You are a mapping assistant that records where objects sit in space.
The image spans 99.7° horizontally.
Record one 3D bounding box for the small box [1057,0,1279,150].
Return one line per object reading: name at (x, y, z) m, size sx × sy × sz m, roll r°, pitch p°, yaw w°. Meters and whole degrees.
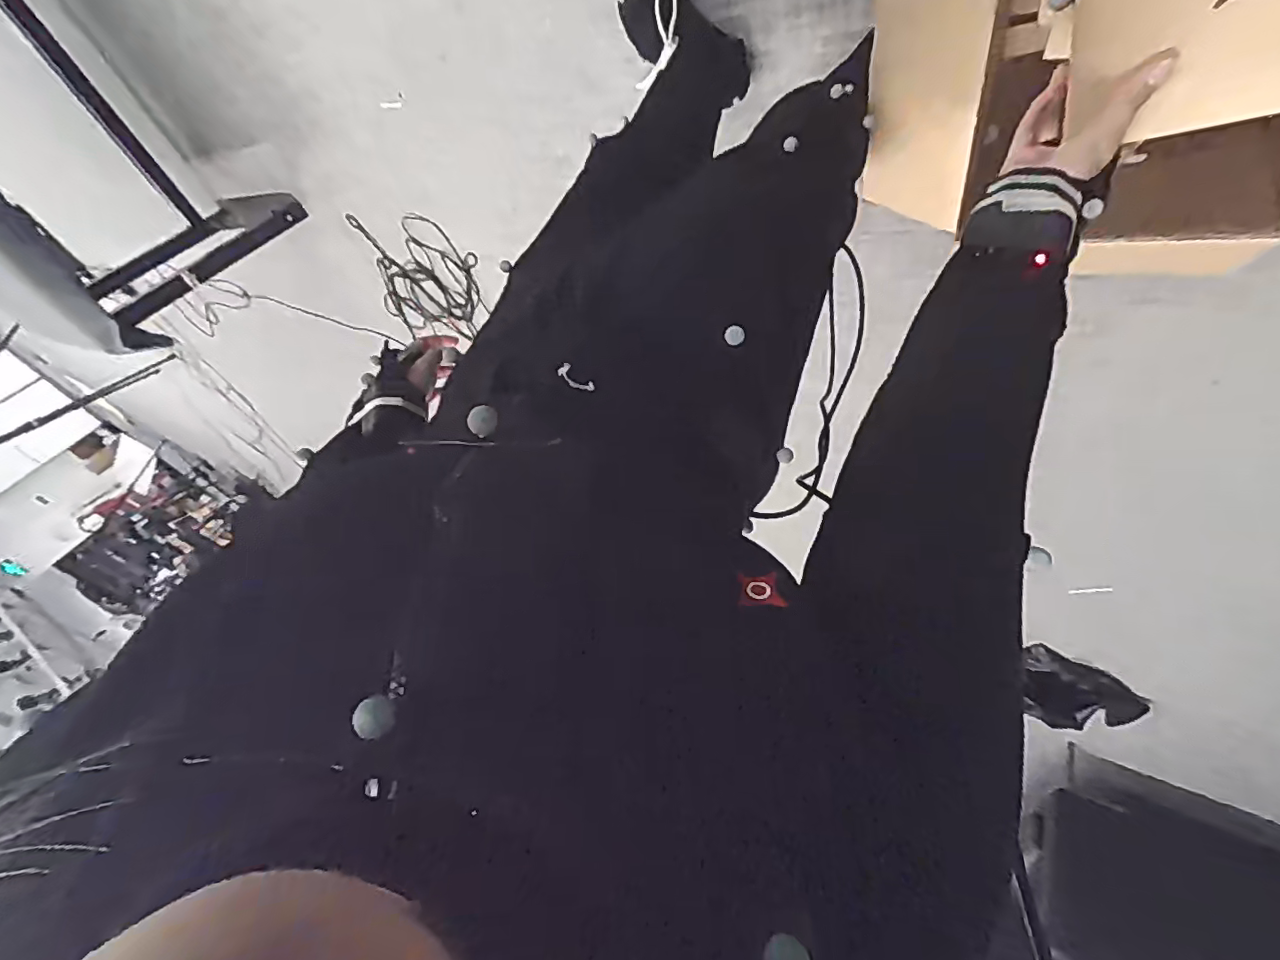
small box at (0.400, -0.365, 0.362) m, size 0.168 × 0.176 × 0.179 m, roll 8°, pitch 142°, yaw 37°
